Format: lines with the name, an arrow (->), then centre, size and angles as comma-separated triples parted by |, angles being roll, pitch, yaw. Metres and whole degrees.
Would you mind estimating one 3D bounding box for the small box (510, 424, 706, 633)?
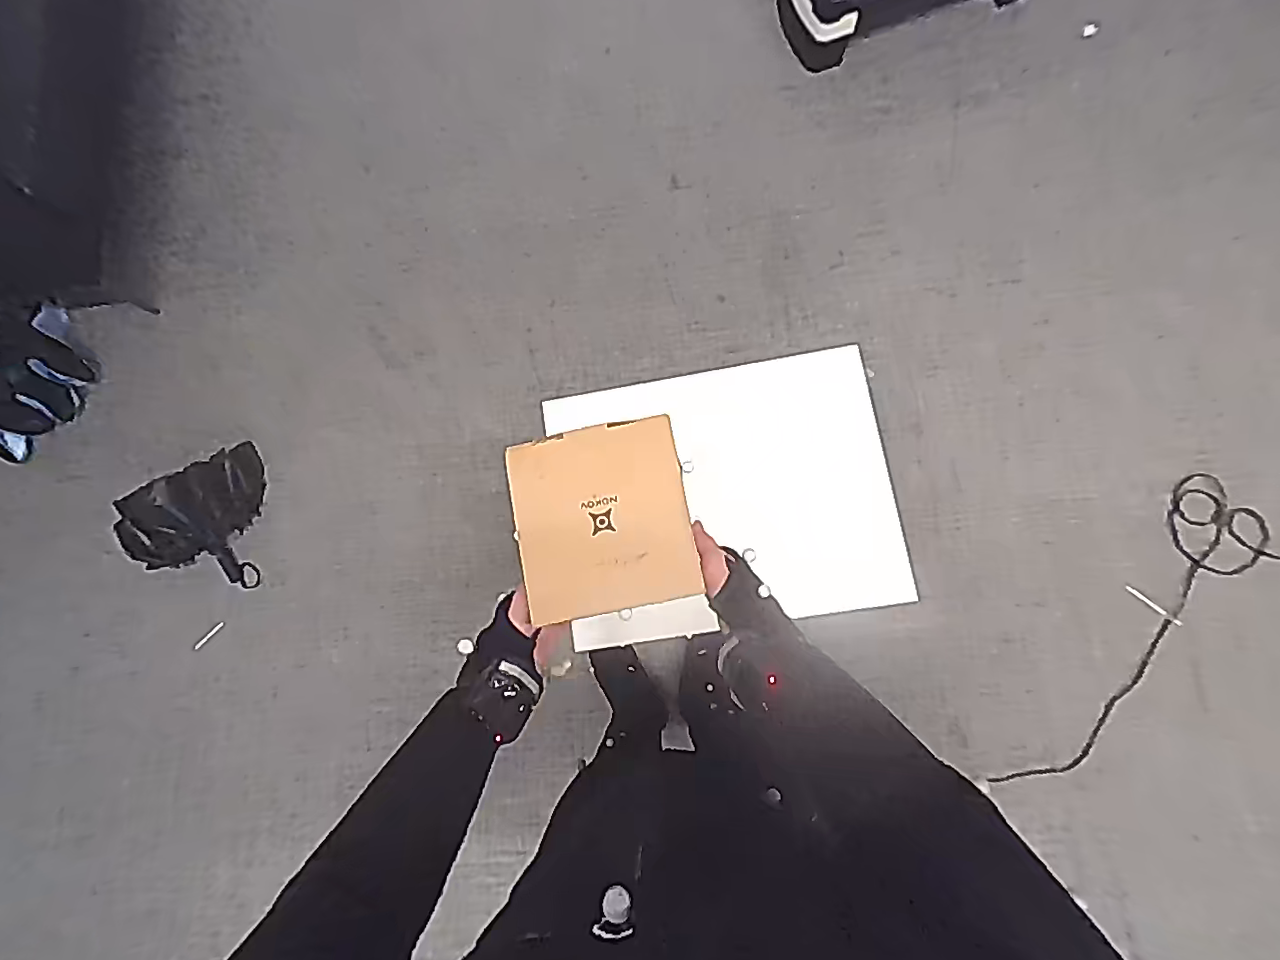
small box -> -0.026, 0.058, 0.587 | 0.168, 0.176, 0.179 | -12, 79, 5
